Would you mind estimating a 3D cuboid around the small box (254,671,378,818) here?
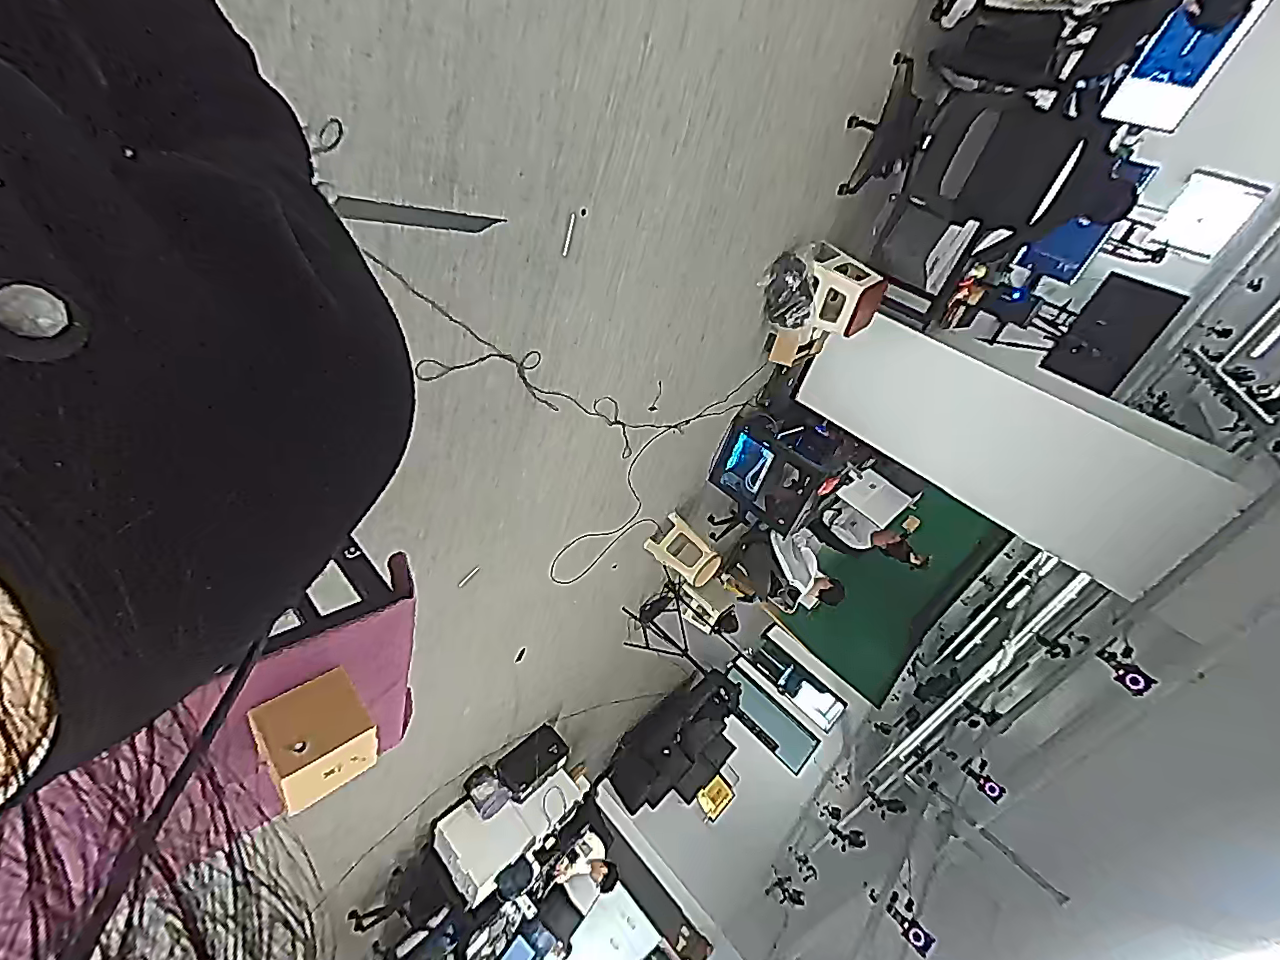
[{"bbox_3d":[-0.664,0.534,1.111,0.179,0.176,0.168,-23,143,-44],"label":"small box"}]
